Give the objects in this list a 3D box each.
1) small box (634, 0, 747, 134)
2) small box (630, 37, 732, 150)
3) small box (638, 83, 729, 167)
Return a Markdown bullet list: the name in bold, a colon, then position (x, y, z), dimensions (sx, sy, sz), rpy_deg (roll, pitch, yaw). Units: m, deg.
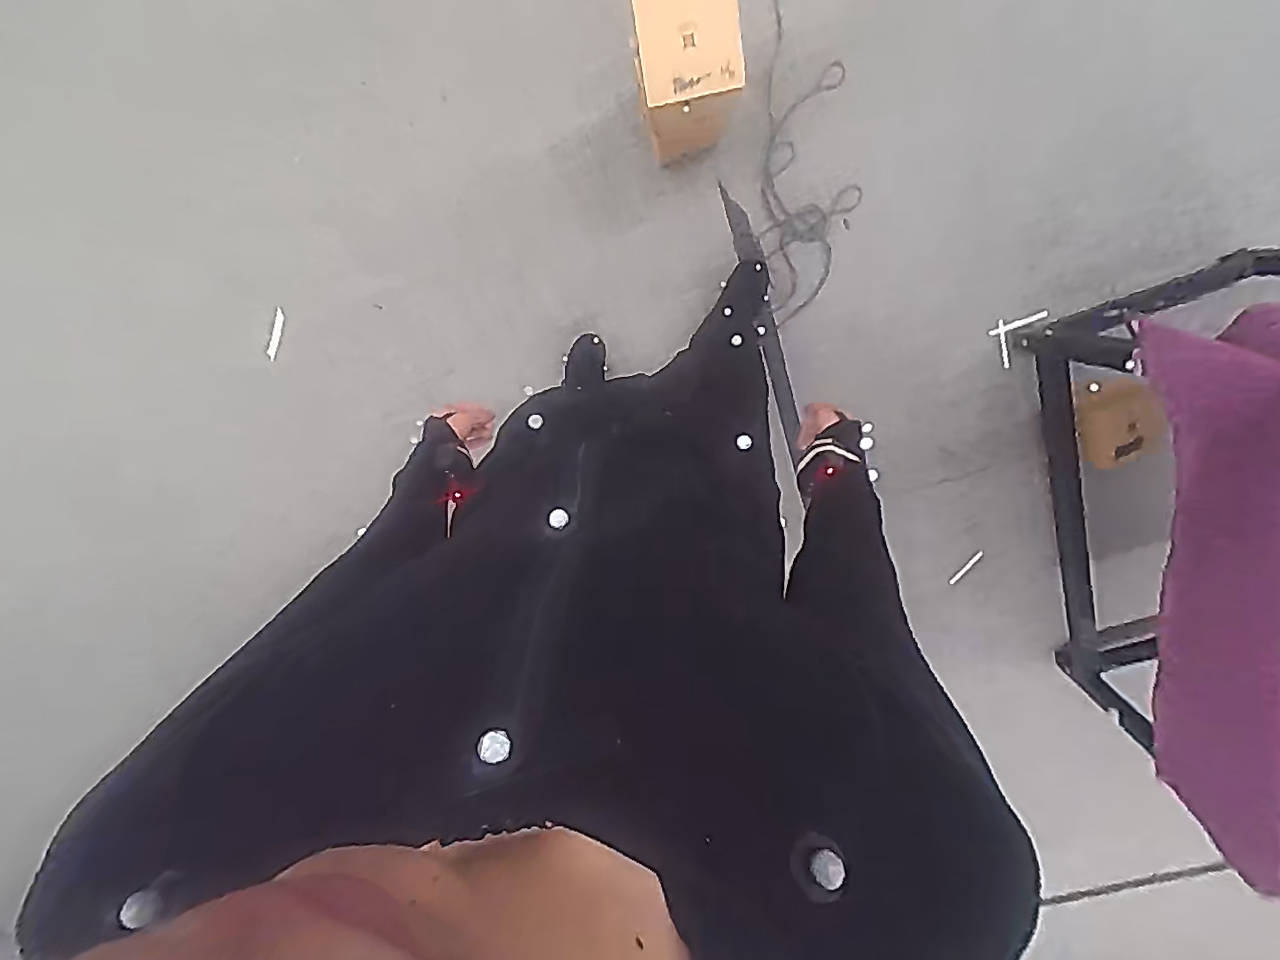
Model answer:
- **small box**: position (0.083, -0.735, 0.938), dimensions (0.168, 0.176, 0.179), rpy_deg (-9, 109, 6)
- **small box**: position (0.091, -0.796, 1.091), dimensions (0.179, 0.176, 0.168), rpy_deg (-16, 109, 8)
- **small box**: position (0.095, -0.853, 1.243), dimensions (0.168, 0.176, 0.179), rpy_deg (-17, 109, 9)
